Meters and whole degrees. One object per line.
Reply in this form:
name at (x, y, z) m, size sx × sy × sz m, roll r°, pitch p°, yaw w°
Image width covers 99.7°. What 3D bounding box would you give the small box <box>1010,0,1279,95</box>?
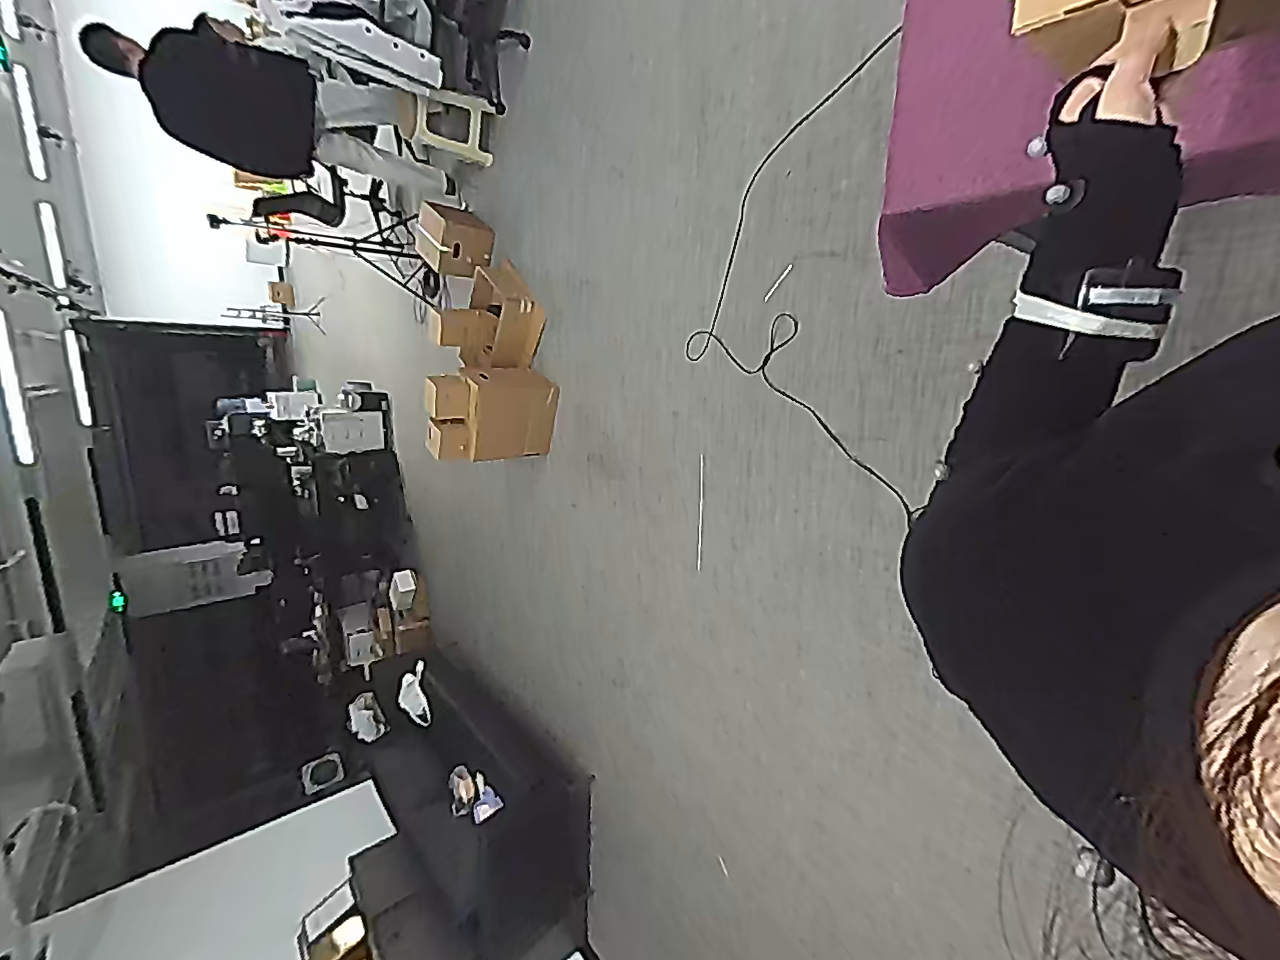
small box at (0.393, -0.413, 0.380) m, size 0.168 × 0.176 × 0.179 m, roll 16°, pitch 114°, yaw 48°
